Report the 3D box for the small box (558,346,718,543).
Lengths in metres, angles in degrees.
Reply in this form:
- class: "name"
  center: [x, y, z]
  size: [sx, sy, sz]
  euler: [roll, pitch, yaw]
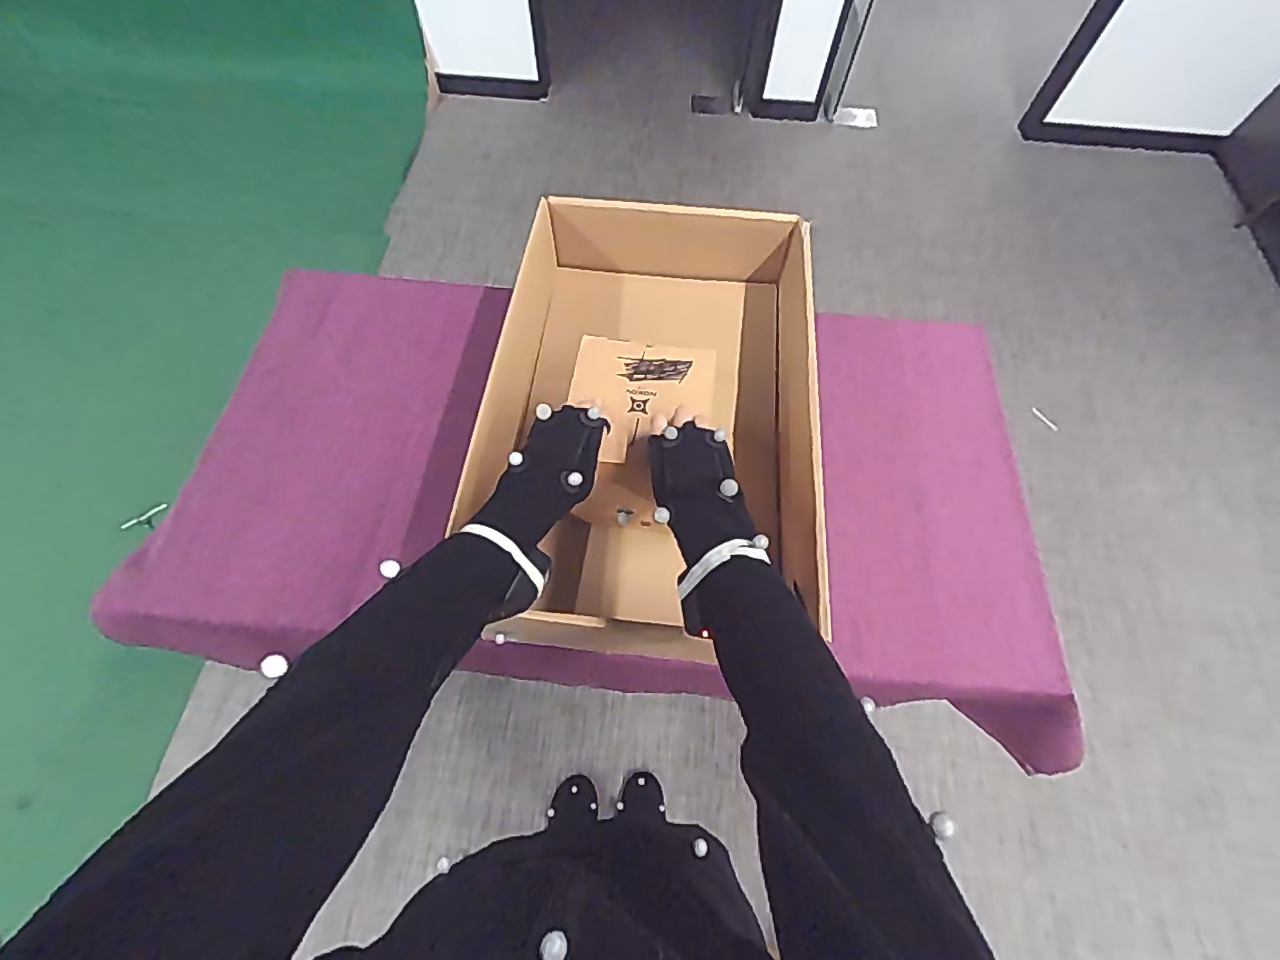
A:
- class: "small box"
  center: [0.000, -0.040, 0.684]
  size: [0.168, 0.176, 0.179]
  euler: [7, 61, 2]
